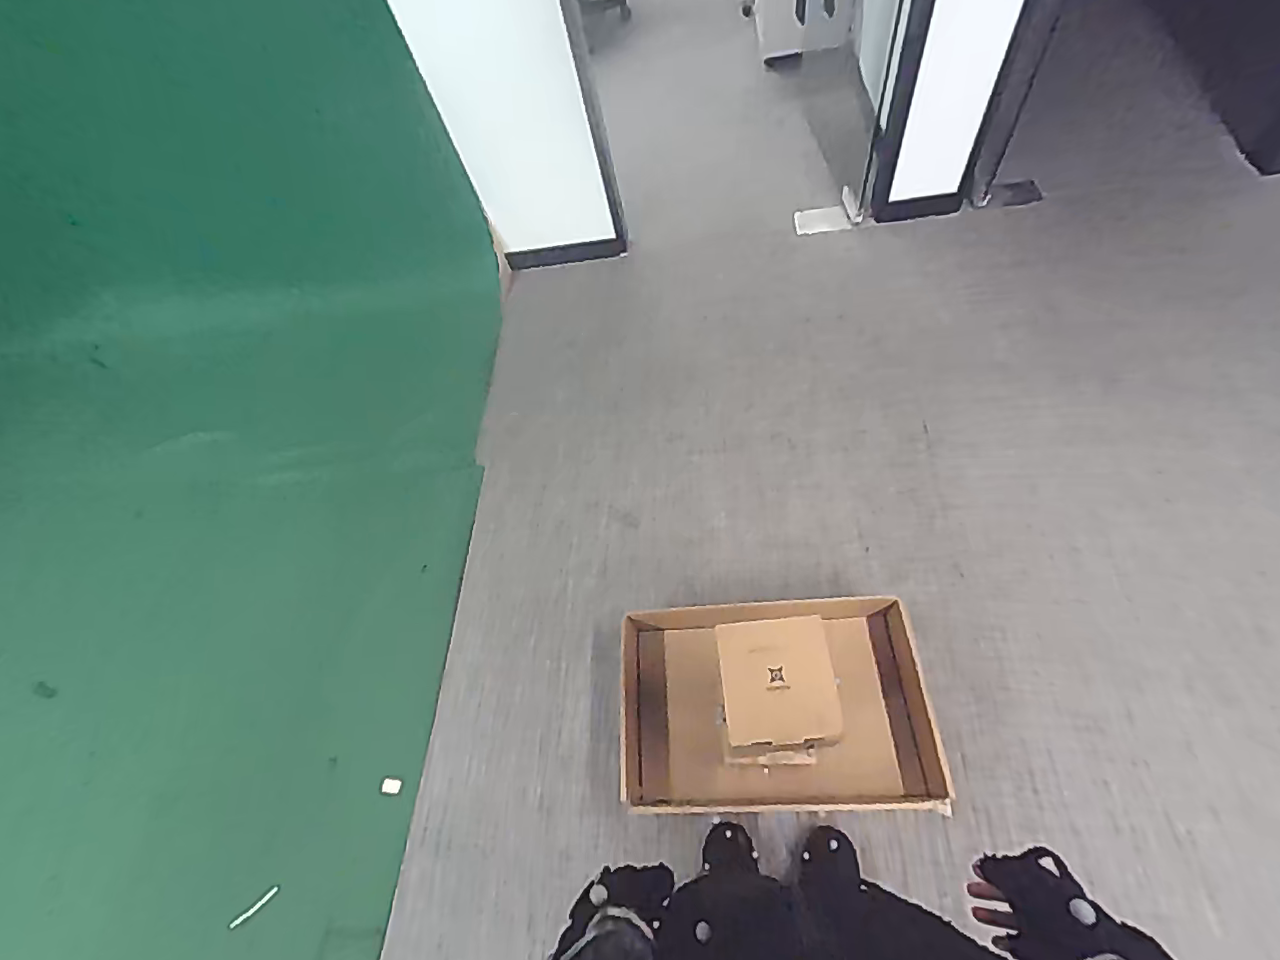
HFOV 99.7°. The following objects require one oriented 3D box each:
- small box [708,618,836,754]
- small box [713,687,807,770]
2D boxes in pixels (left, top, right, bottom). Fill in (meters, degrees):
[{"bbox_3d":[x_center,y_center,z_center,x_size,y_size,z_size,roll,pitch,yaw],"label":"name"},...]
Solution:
[{"bbox_3d":[0.203,0.337,0.870,0.168,0.176,0.179,-7,58,5],"label":"small box"},{"bbox_3d":[0.250,0.521,1.153,0.179,0.176,0.168,-4,58,9],"label":"small box"}]
